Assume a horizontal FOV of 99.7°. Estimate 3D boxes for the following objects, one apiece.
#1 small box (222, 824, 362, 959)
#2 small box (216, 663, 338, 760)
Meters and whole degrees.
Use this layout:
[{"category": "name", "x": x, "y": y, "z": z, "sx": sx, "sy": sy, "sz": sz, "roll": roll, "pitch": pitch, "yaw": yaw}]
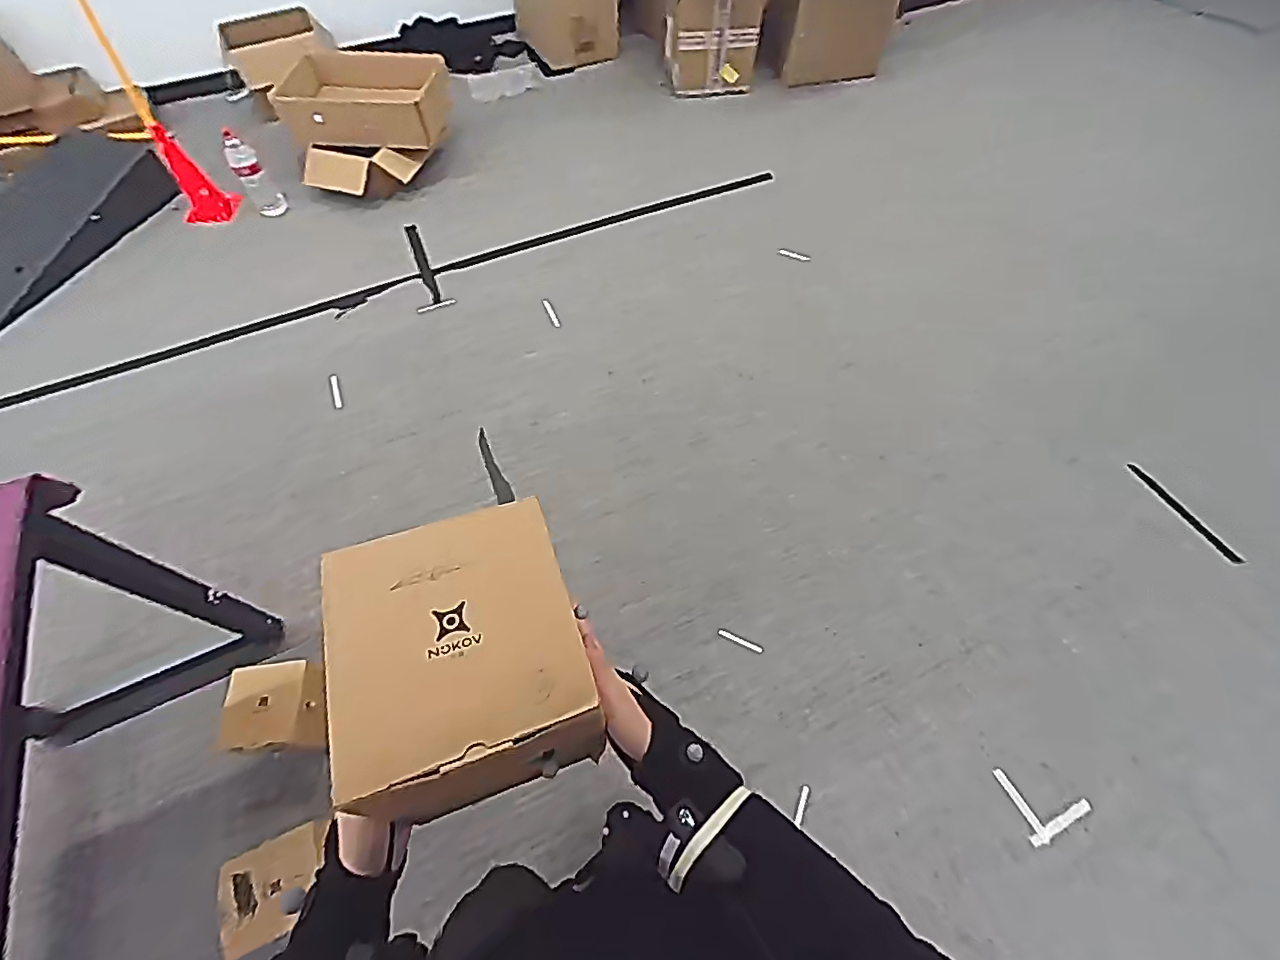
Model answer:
[{"category": "small box", "x": -0.702, "y": 0.830, "z": 1.101, "sx": 0.179, "sy": 0.176, "sz": 0.168, "roll": -22, "pitch": 62, "yaw": -13}, {"category": "small box", "x": -0.837, "y": 0.546, "z": 1.270, "sx": 0.168, "sy": 0.176, "sz": 0.179, "roll": -7, "pitch": 61, "yaw": -4}]
